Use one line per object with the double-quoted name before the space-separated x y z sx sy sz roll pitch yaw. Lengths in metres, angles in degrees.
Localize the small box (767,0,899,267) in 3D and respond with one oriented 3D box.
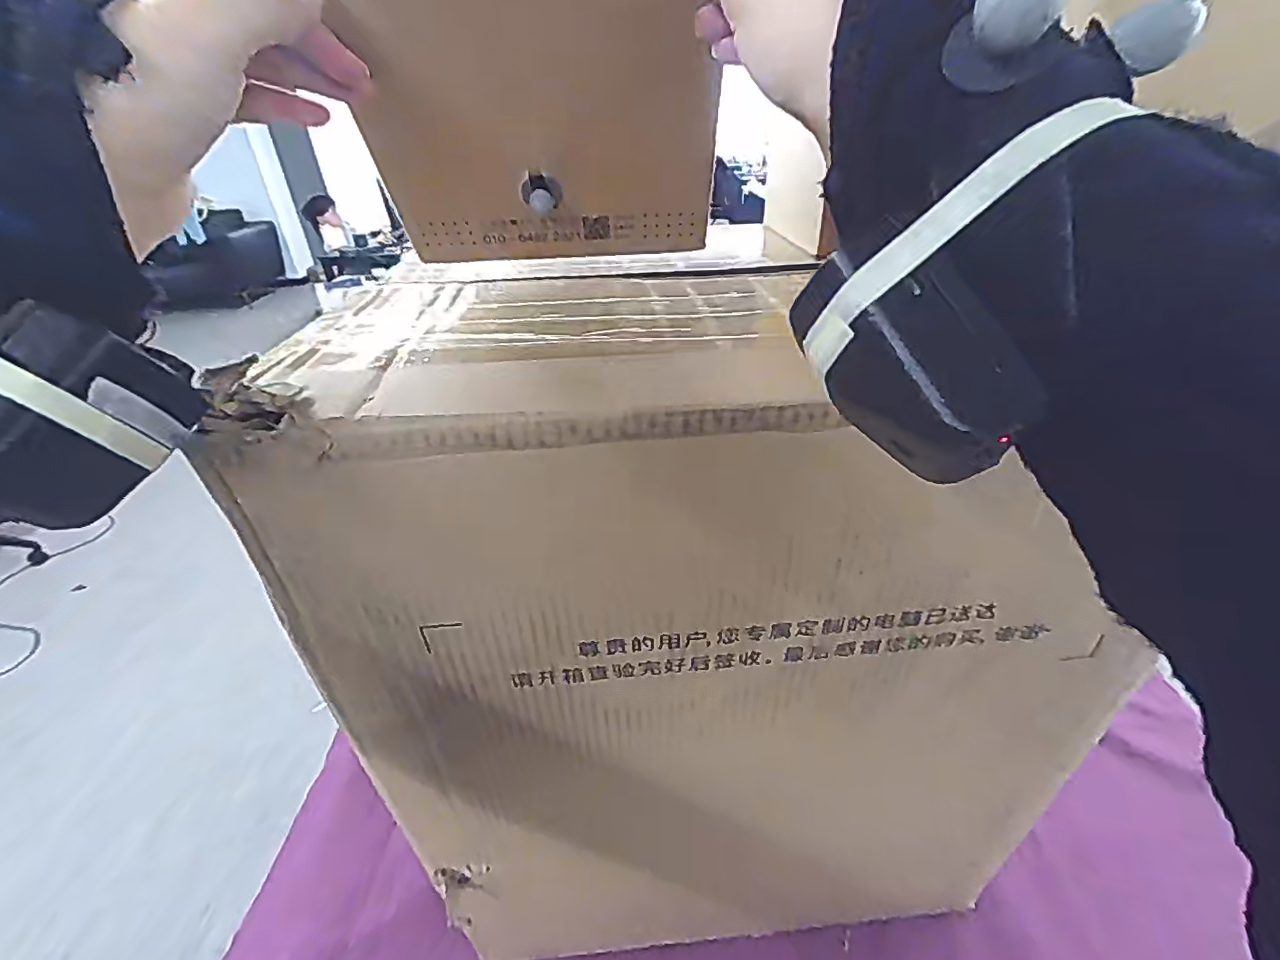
"small box" 0.206 -0.276 0.439 0.168 0.176 0.179 -4 33 0
